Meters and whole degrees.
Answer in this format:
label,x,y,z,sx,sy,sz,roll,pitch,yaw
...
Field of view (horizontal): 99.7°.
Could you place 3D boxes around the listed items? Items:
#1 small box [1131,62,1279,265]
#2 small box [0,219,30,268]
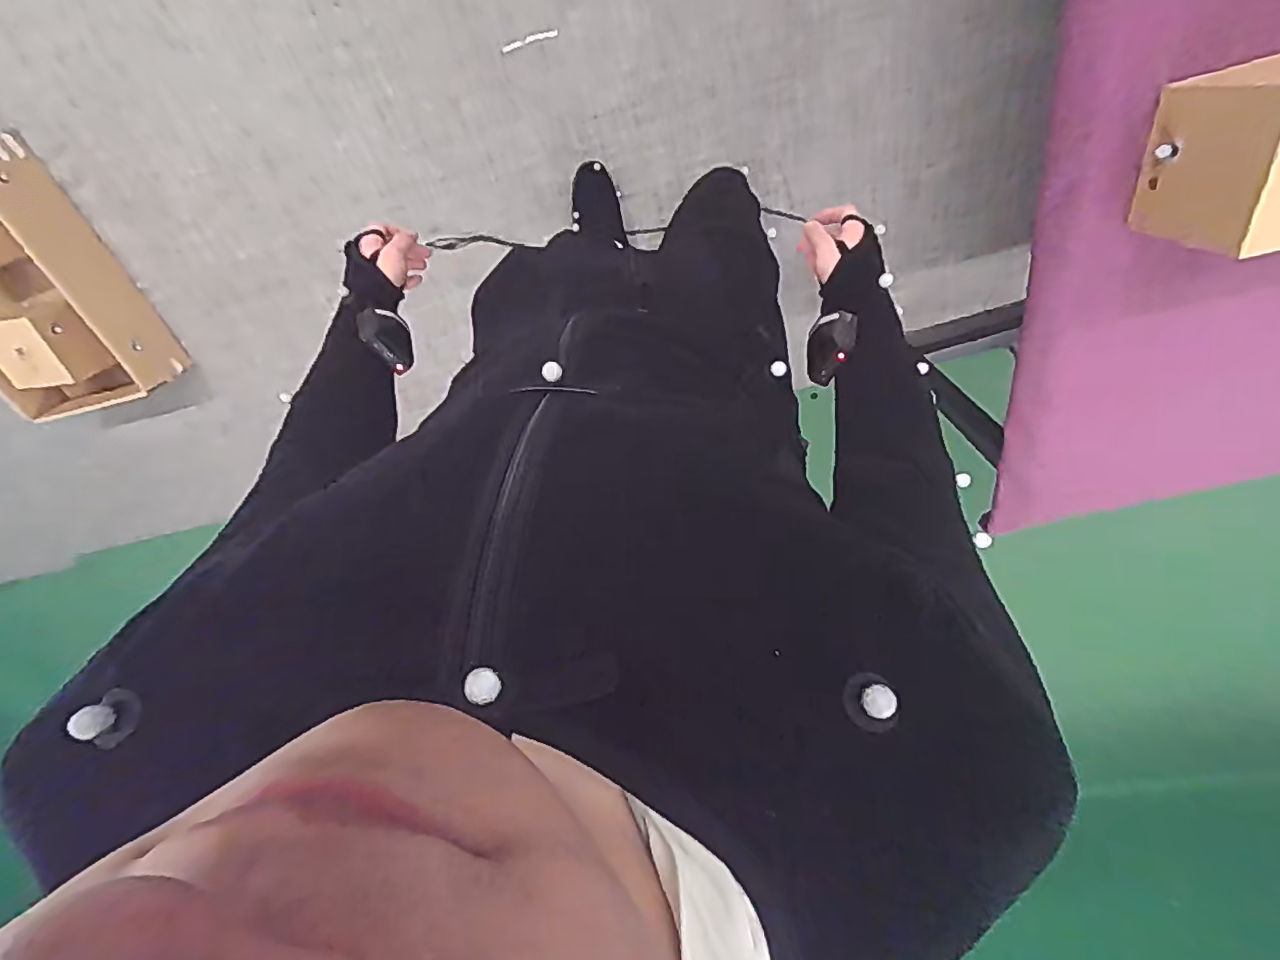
label,x,y,z,sx,sy,sz,roll,pitch,yaw
small box,0.717,-0.360,0.598,0.179,0.176,0.168,-12,124,7
small box,-1.632,-0.570,1.263,0.168,0.176,0.179,-16,125,10
